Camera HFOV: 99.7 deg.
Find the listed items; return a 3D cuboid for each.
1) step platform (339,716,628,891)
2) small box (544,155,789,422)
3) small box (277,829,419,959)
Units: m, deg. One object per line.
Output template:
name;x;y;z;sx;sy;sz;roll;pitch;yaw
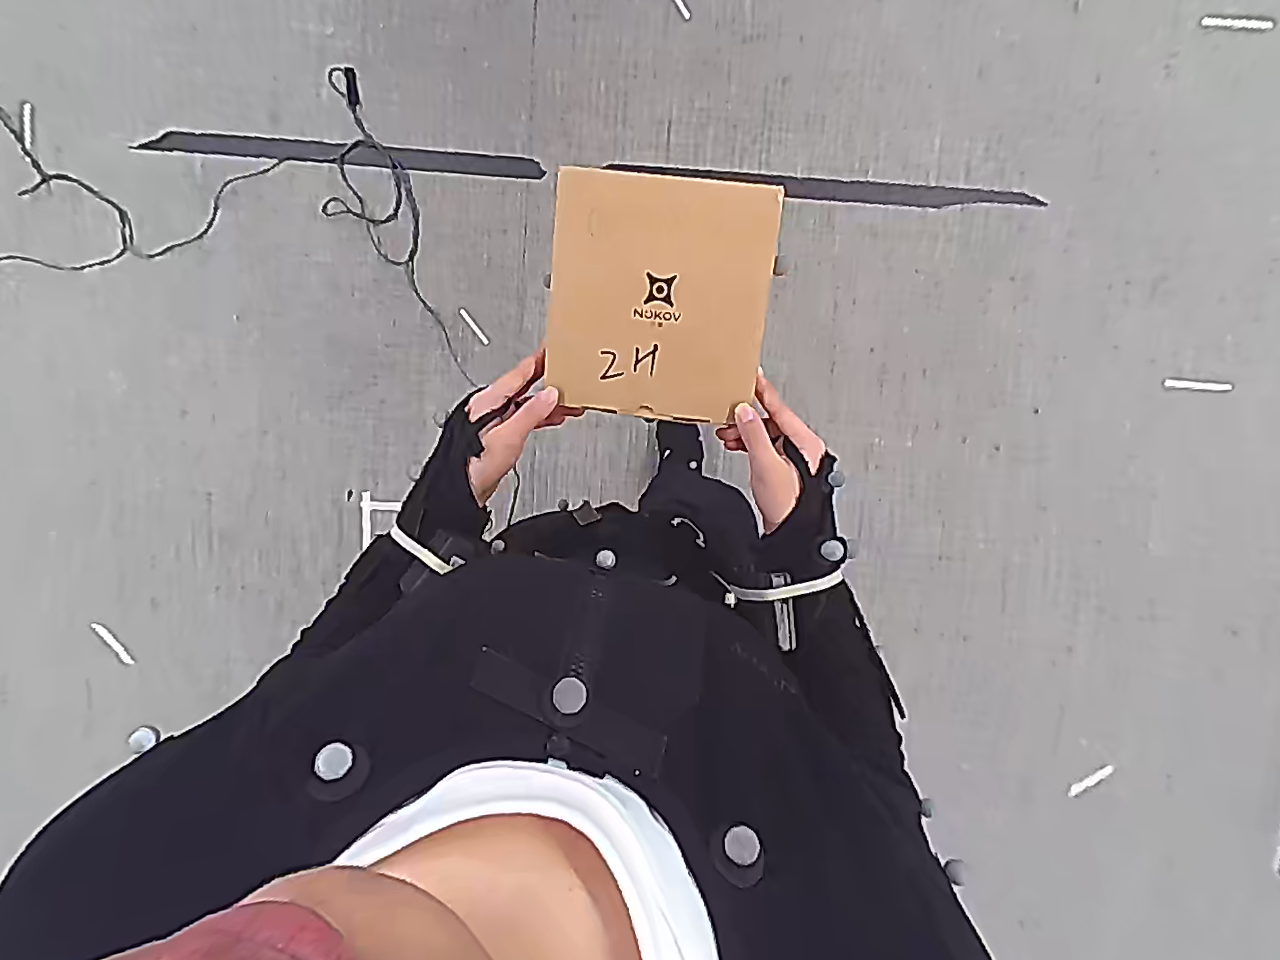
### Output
step platform;-0.375;0.800;1.346;0.684;0.204;0.286;5;95;1
small box;0.021;-0.154;0.479;0.168;0.176;0.179;7;102;3
small box;-0.537;0.794;1.014;0.179;0.176;0.168;8;95;2
